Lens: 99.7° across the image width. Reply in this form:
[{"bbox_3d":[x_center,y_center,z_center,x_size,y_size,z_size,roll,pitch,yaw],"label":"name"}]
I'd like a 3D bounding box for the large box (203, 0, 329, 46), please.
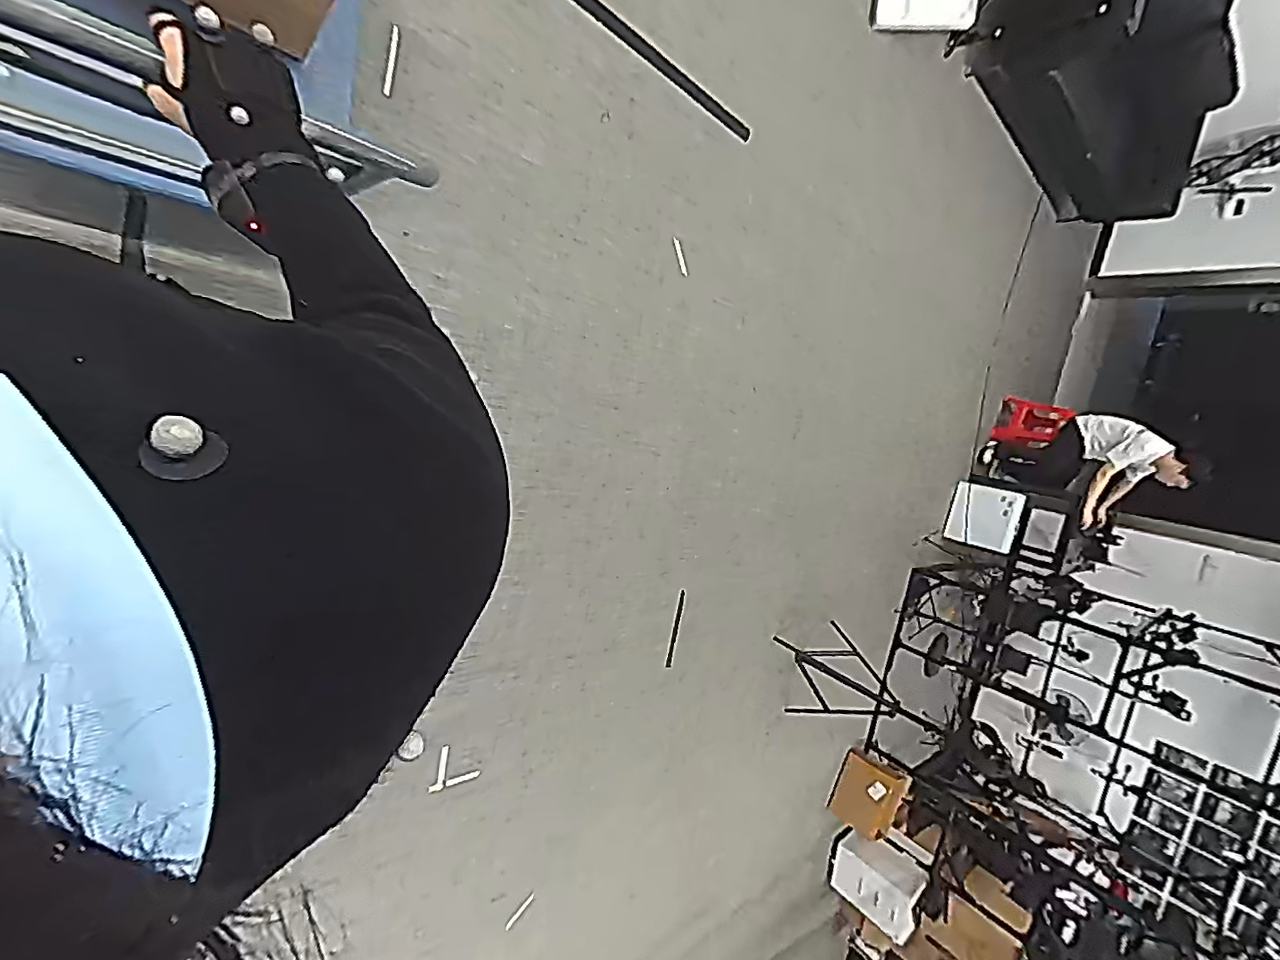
[{"bbox_3d":[-0.654,-0.920,0.746,0.408,0.320,0.320,4,99,-41],"label":"large box"}]
